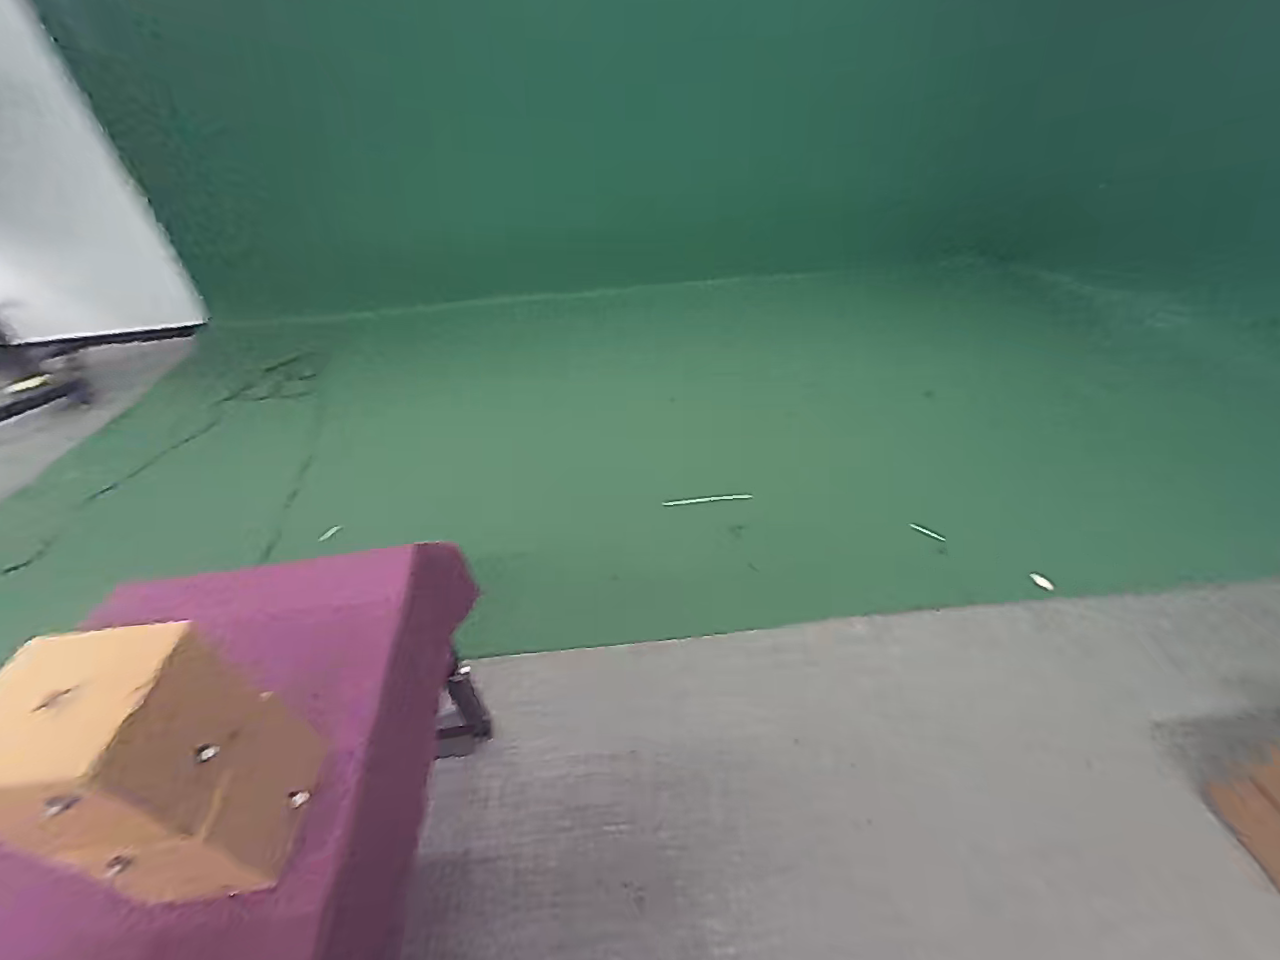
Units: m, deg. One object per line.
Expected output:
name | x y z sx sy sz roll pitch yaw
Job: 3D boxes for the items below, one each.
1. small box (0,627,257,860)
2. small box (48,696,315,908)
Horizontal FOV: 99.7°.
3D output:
small box | -0.572 0.284 0.583 0.179 0.176 0.168 -6 40 -2
small box | -0.551 0.407 0.689 0.168 0.176 0.179 -7 39 -2
